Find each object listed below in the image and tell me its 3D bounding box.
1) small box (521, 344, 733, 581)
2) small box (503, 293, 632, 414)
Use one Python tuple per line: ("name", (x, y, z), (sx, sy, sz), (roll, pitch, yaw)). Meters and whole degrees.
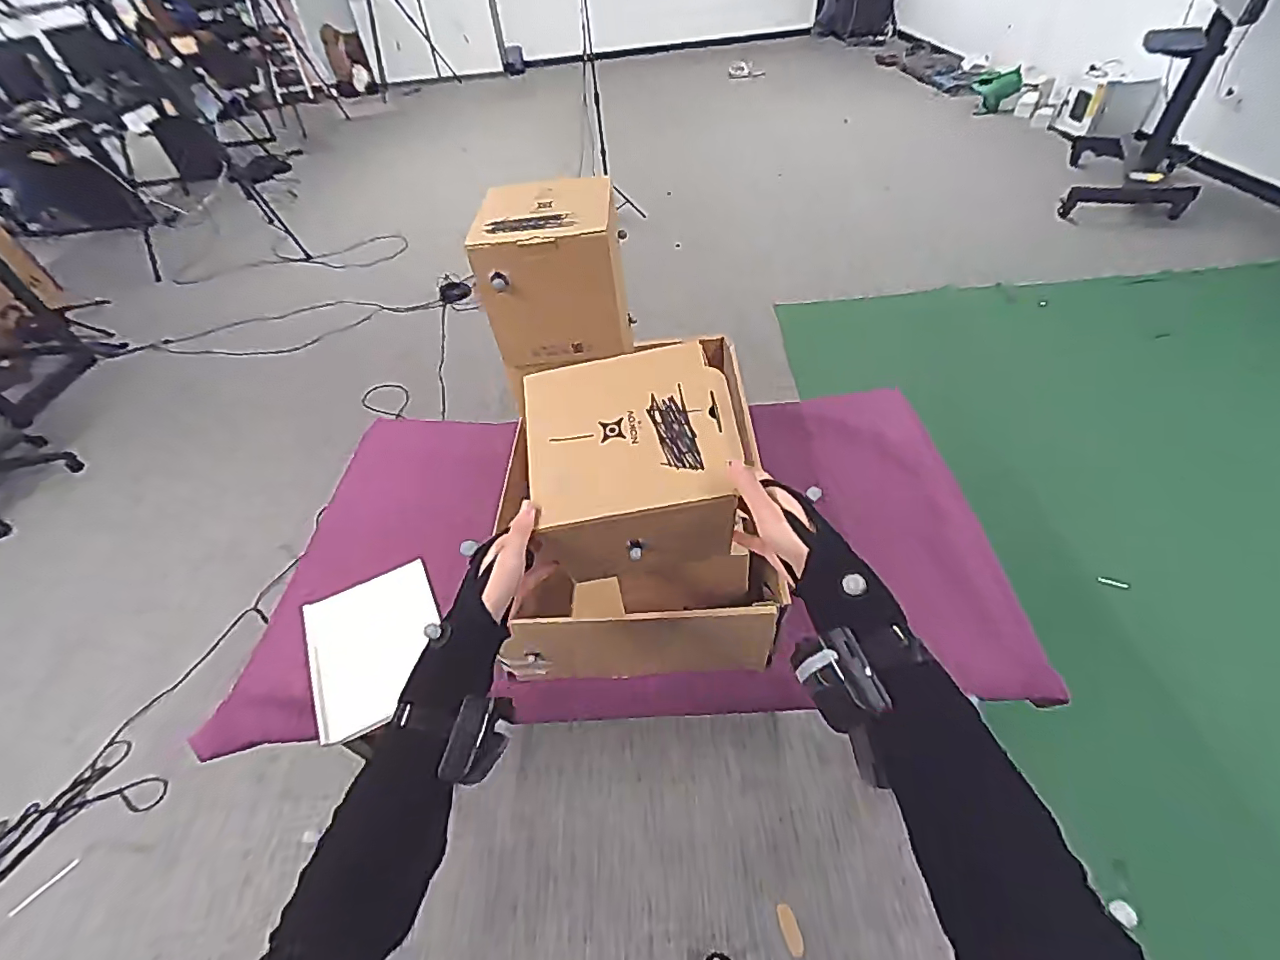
("small box", (-0.010, -0.008, 0.550), (0.179, 0.176, 0.168), (-10, 63, 3))
("small box", (-0.099, -0.169, 0.850), (0.168, 0.176, 0.179), (-3, 48, 5))
